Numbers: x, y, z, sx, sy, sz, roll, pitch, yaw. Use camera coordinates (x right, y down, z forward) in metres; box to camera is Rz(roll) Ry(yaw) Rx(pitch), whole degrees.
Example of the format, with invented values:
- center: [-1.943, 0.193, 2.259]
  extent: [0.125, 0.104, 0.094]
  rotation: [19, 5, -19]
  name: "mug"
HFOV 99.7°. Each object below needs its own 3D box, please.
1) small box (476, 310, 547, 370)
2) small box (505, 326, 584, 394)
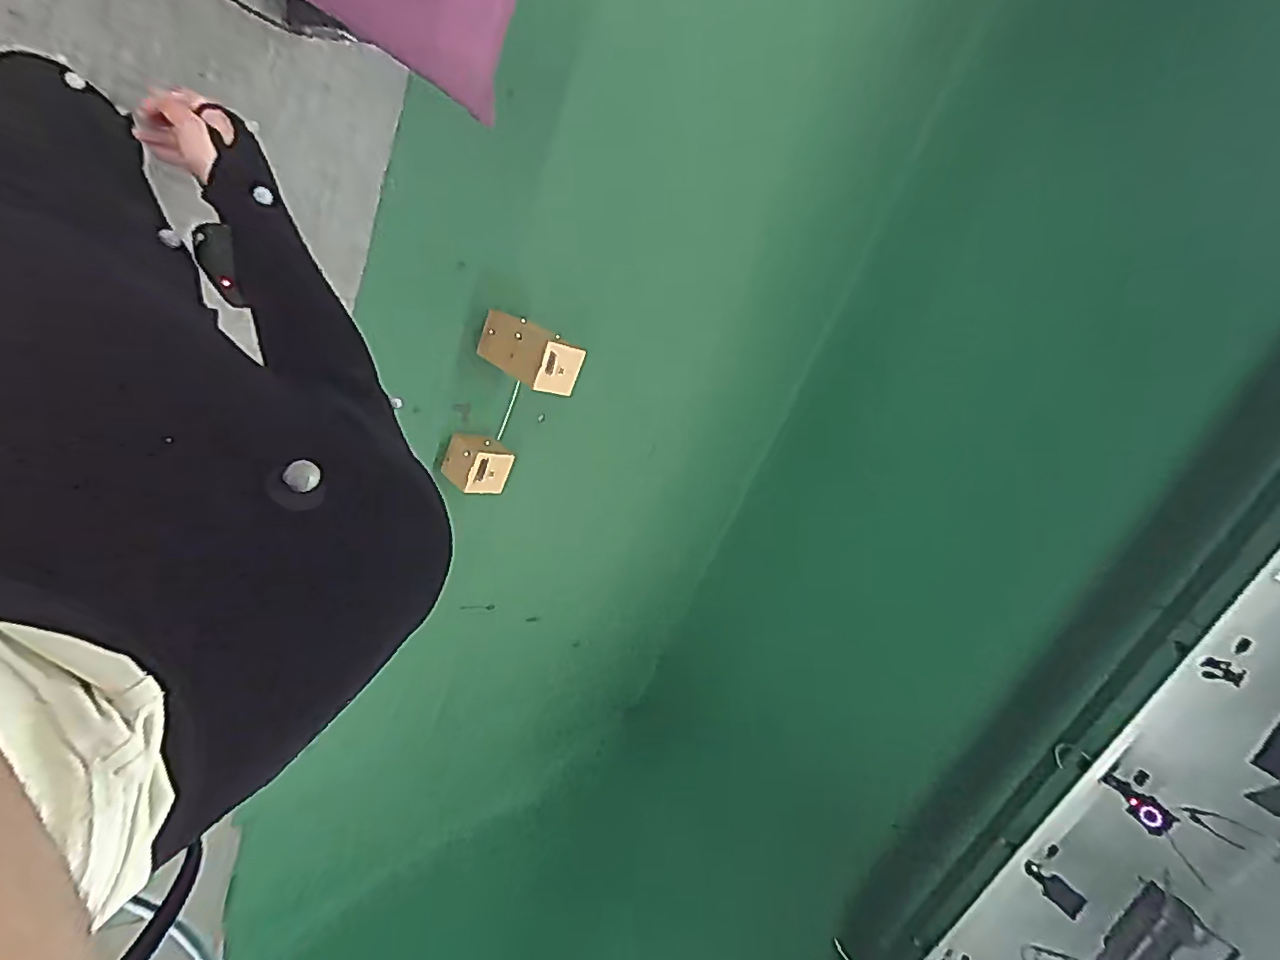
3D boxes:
- center: [-0.442, -0.484, 1.908]
  extent: [0.179, 0.176, 0.168]
  rotation: [0, 118, -53]
  name: "small box"
- center: [-0.326, -0.406, 1.822]
  extent: [0.179, 0.176, 0.168]
  rotation: [-1, 119, -54]
  name: "small box"
